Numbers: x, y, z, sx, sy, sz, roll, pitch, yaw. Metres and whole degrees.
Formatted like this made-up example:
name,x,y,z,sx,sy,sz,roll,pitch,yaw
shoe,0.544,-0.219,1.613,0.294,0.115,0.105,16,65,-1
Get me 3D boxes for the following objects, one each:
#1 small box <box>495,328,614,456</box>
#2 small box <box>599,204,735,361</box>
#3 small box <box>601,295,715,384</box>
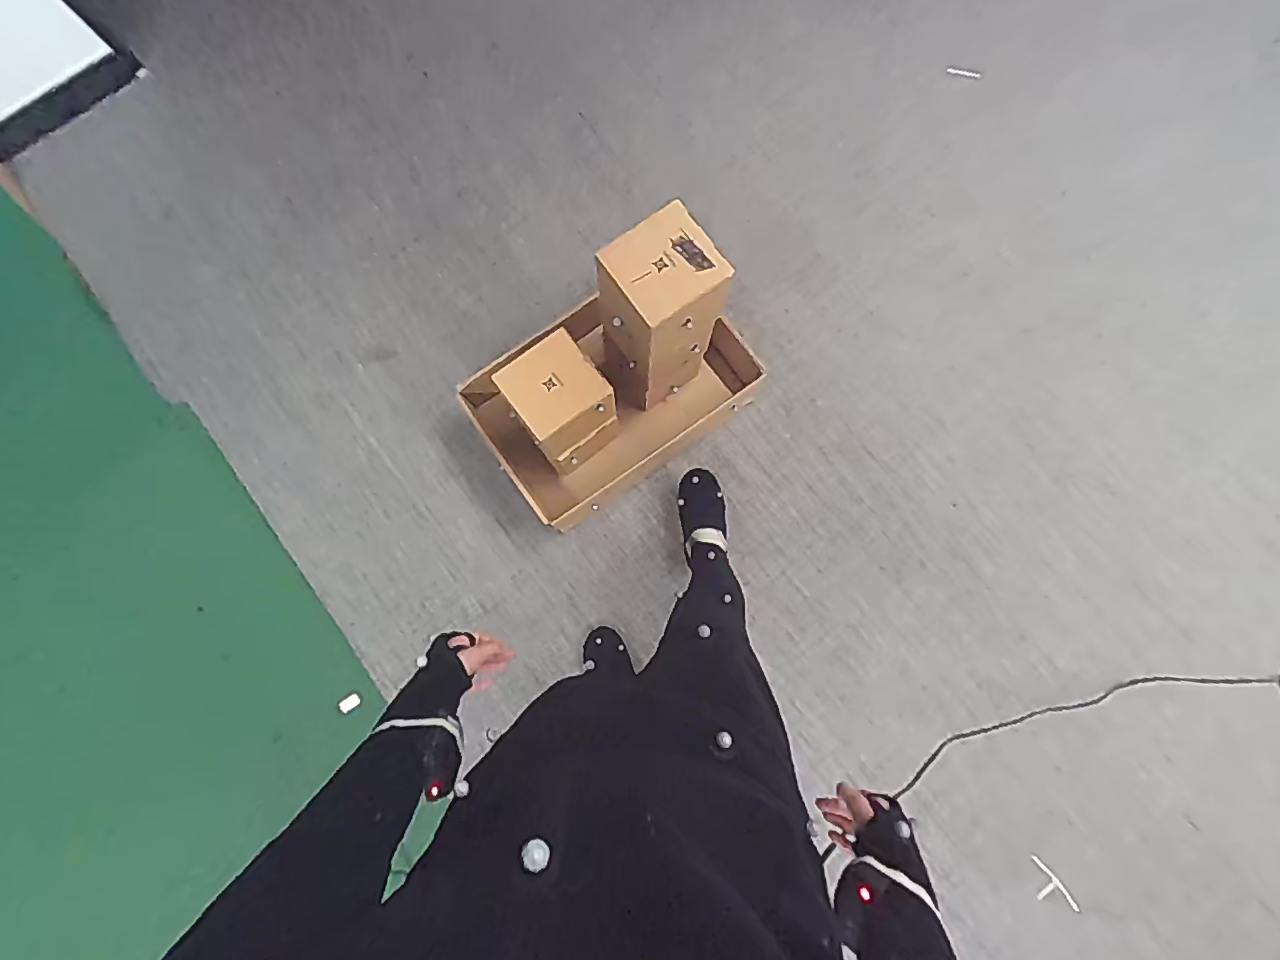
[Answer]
name,x,y,z,sx,sy,sz,roll,pitch,yaw
small box,-0.167,-0.173,1.123,0.179,0.176,0.168,-38,83,-7
small box,0.044,-0.348,0.984,0.179,0.176,0.168,-35,83,-4
small box,0.037,-0.323,1.146,0.168,0.176,0.179,-35,82,-5
